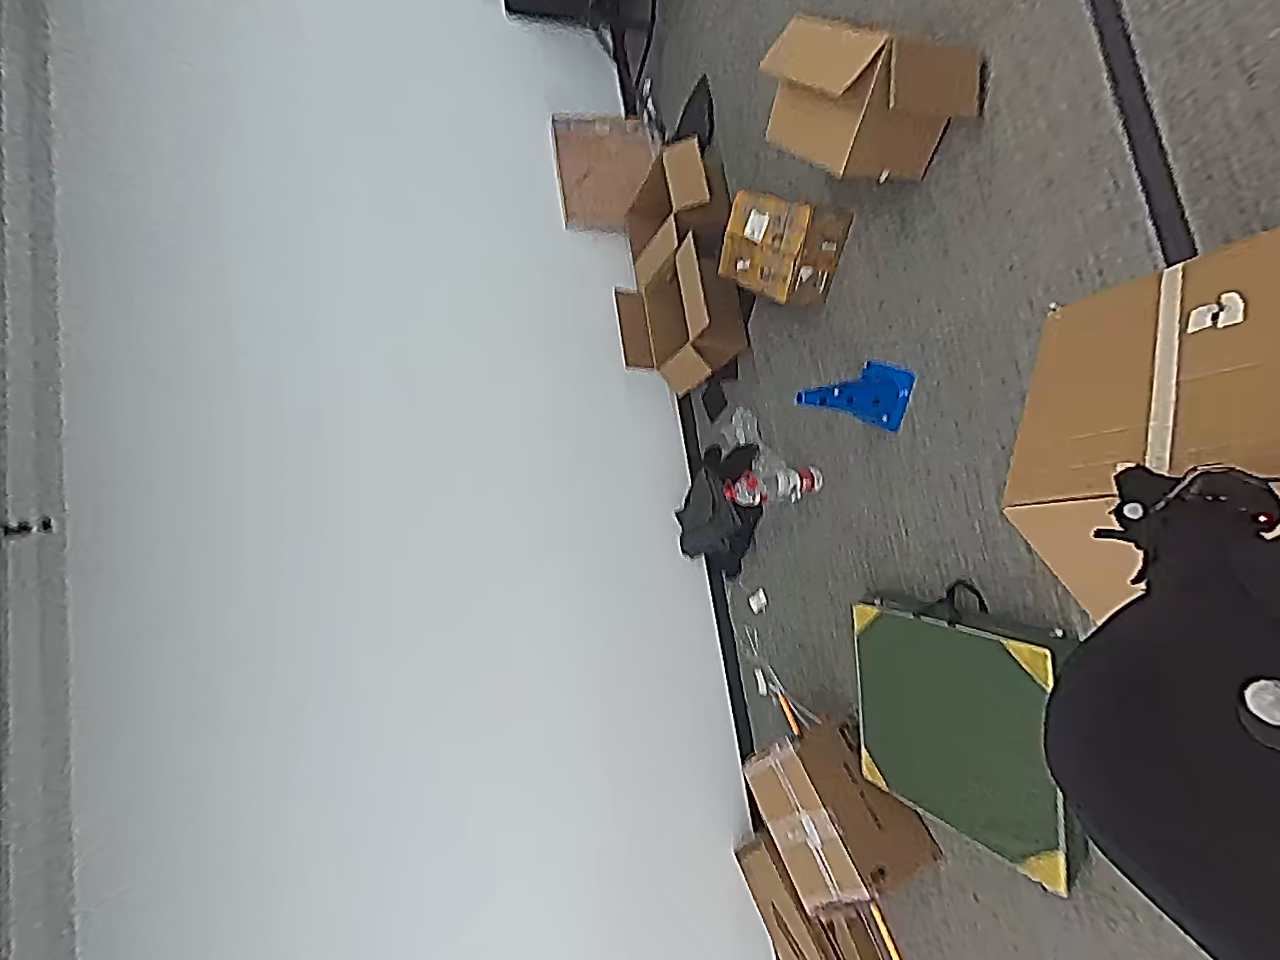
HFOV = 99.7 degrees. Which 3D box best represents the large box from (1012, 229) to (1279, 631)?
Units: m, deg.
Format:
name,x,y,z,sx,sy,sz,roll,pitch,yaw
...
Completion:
name,x,y,z,sx,sy,sz,roll,pitch,yaw
large box,0.763,-0.051,0.712,0.320,0.320,0.408,-14,39,58
